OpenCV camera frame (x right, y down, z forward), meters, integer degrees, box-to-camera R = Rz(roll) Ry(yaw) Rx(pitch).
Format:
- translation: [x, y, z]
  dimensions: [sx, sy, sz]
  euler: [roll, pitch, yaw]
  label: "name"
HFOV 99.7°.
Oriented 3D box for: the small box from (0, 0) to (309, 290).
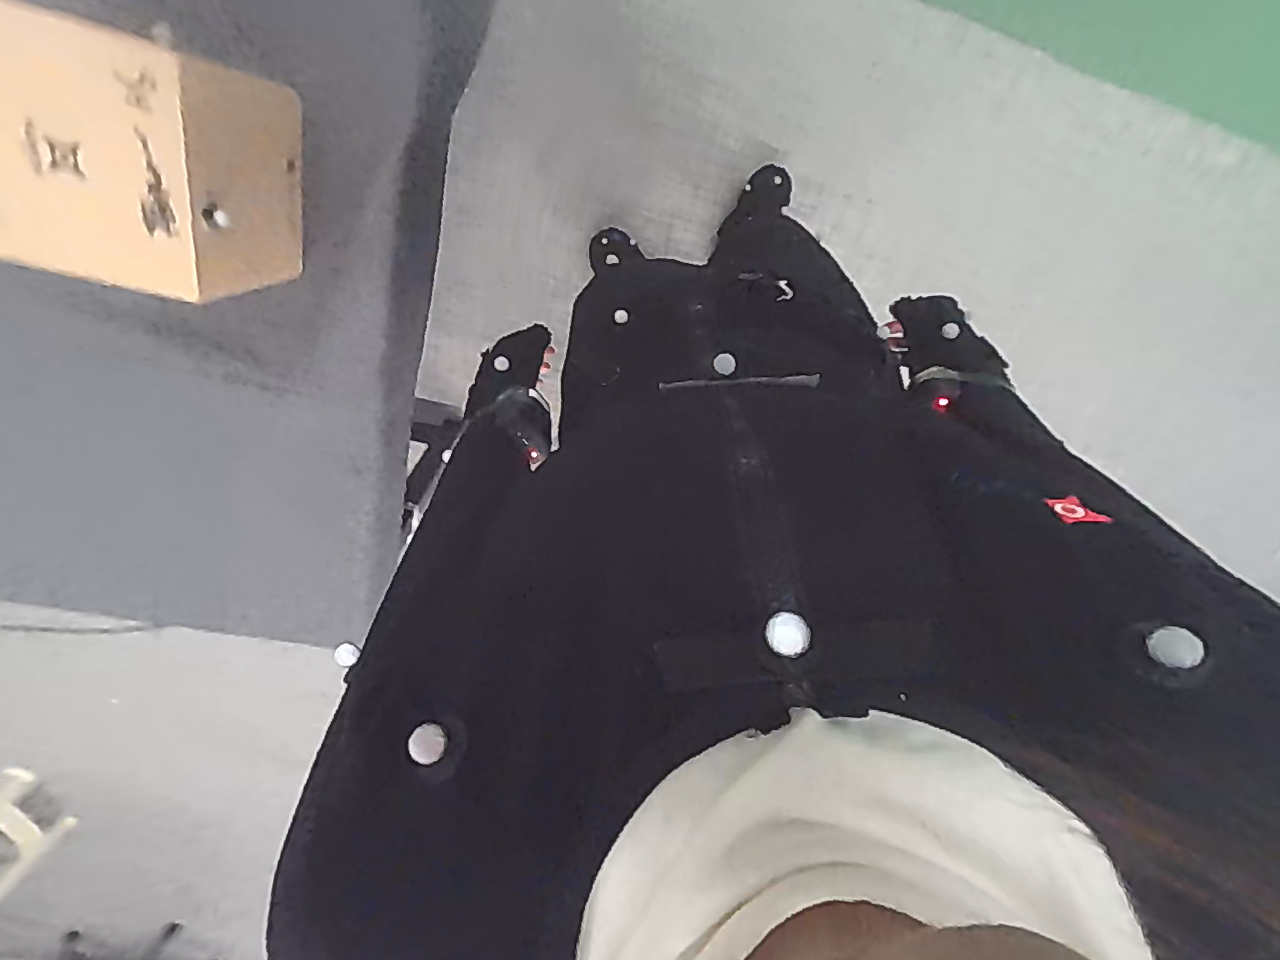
- translation: [-0.408, -0.273, 0.448]
  dimensions: [0.179, 0.176, 0.168]
  euler: [12, 117, -9]
  label: "small box"
